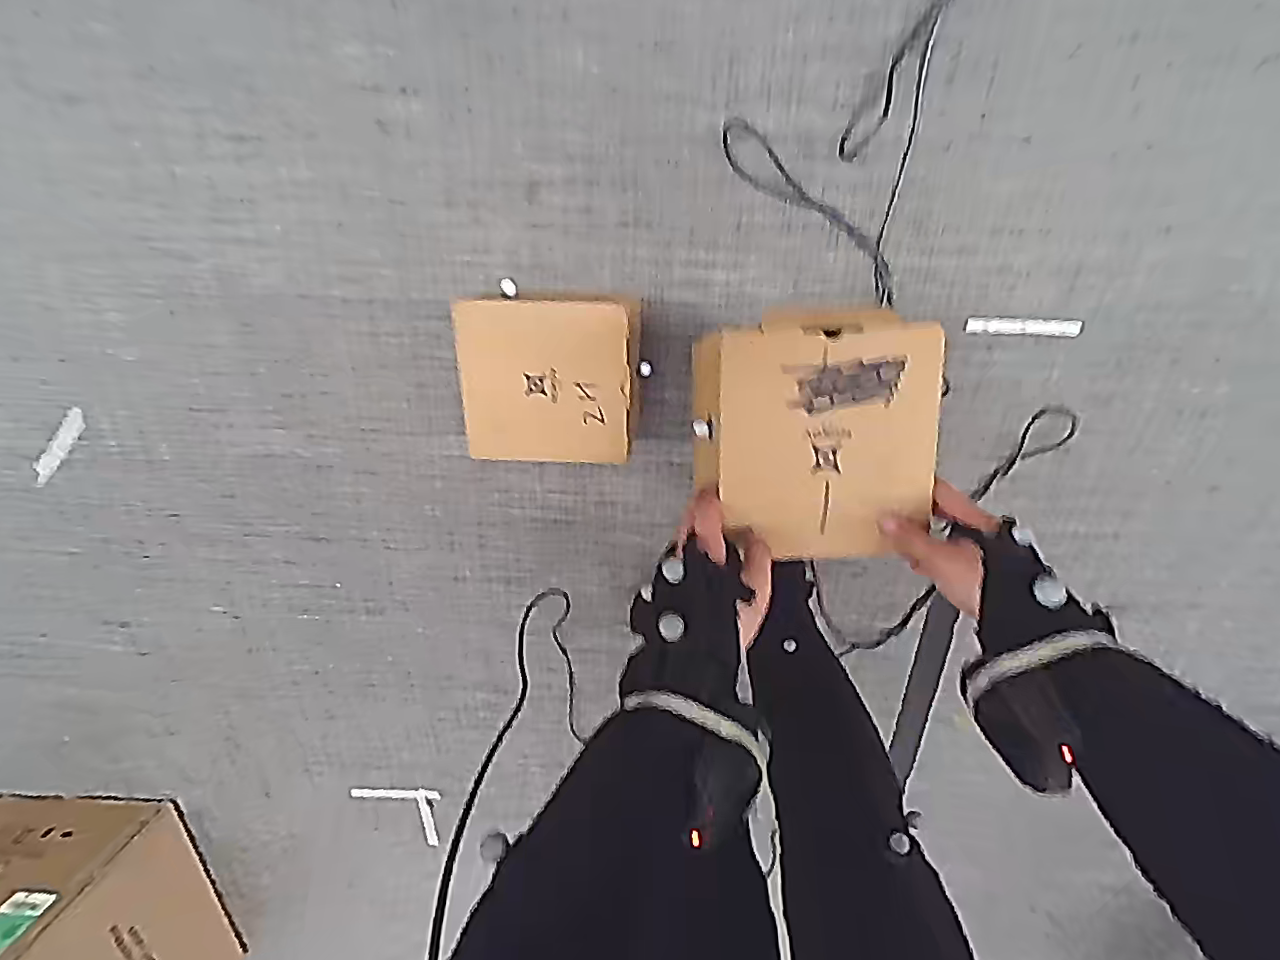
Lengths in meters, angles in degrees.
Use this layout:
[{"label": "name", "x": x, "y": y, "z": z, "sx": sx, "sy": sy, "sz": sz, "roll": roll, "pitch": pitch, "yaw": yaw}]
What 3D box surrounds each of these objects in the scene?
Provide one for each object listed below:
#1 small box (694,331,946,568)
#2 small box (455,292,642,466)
[{"label": "small box", "x": 0.138, "y": -0.033, "z": 0.479, "sx": 0.168, "sy": 0.176, "sz": 0.179, "roll": -1, "pitch": 101, "yaw": -1}, {"label": "small box", "x": -0.093, "y": -0.125, "z": 0.629, "sx": 0.179, "sy": 0.176, "sz": 0.168, "roll": 2, "pitch": 113, "yaw": 3}]
